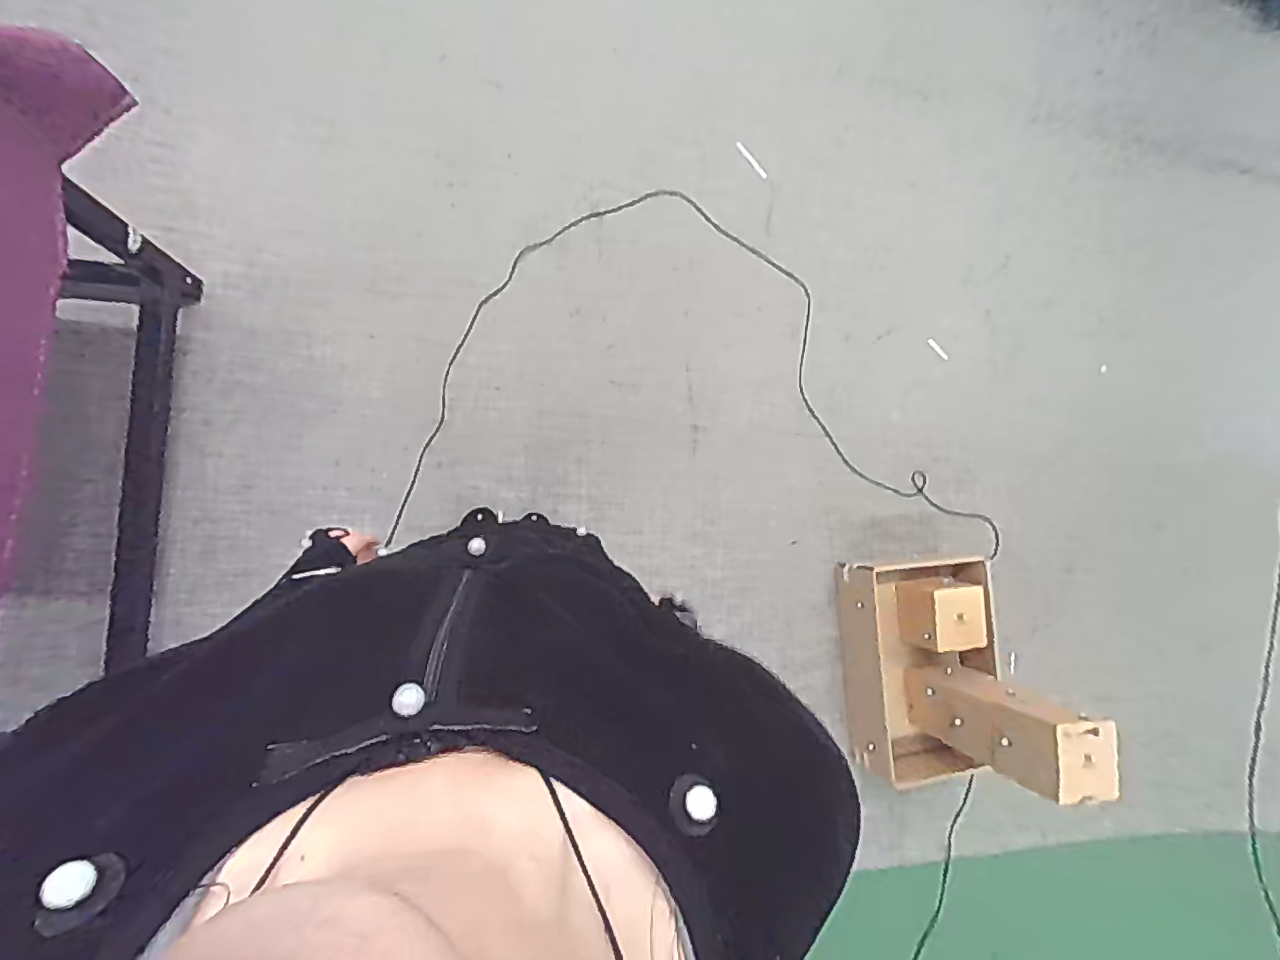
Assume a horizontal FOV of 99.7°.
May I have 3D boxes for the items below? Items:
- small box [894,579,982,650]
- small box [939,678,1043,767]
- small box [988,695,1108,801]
[{"bbox_3d":[0.889,0.397,1.628,0.168,0.176,0.179,-3,89,-12],"label":"small box"},{"bbox_3d":[0.945,0.645,1.459,0.179,0.176,0.168,-1,87,-12],"label":"small box"},{"bbox_3d":[0.968,0.634,1.295,0.168,0.176,0.179,3,86,-13],"label":"small box"}]
